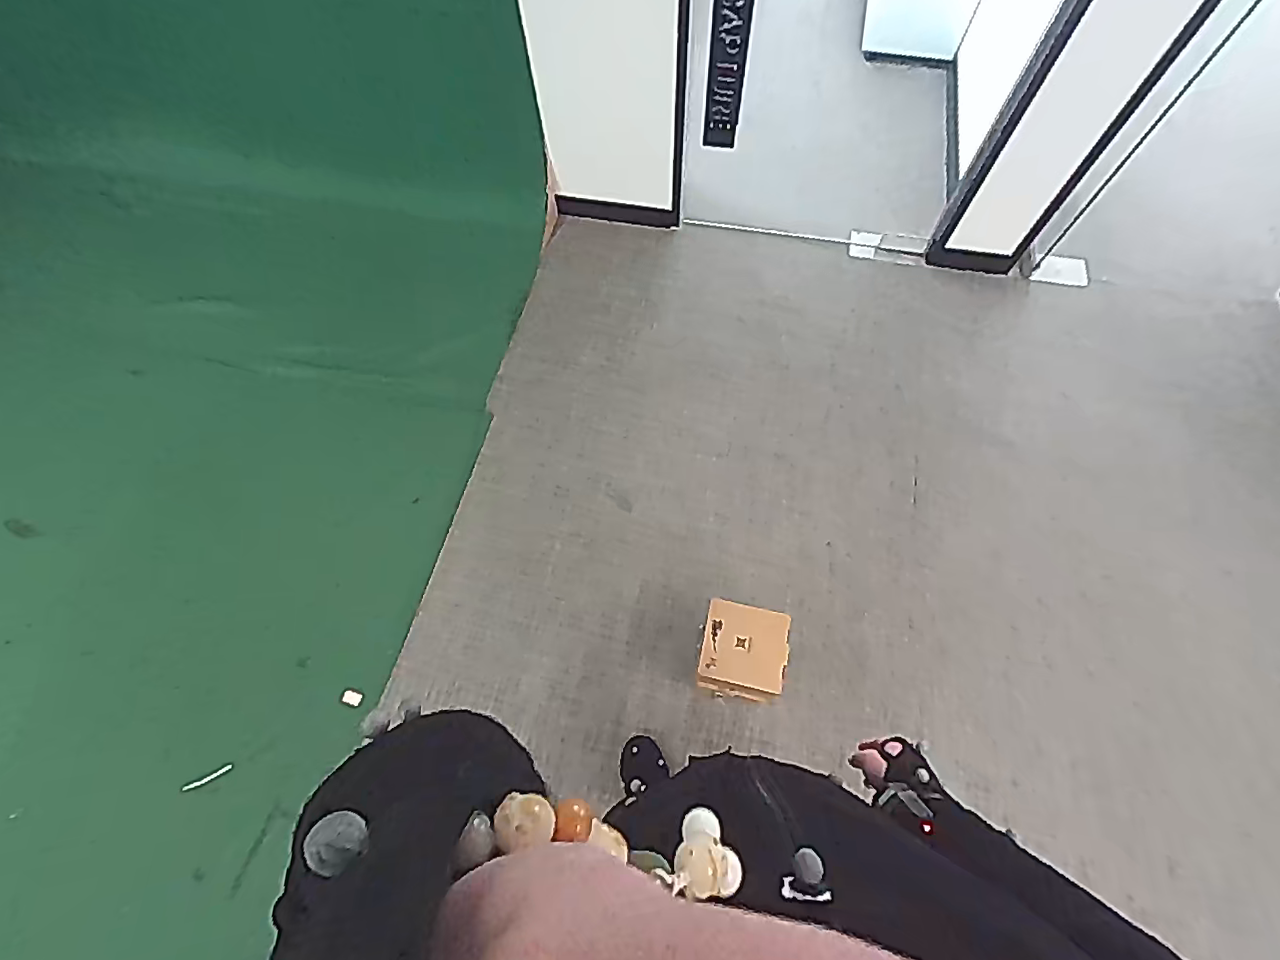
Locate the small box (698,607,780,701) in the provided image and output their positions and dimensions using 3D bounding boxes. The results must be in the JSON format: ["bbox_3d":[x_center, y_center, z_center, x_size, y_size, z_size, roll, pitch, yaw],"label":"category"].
[{"bbox_3d":[0.240,0.436,1.345,0.168,0.176,0.179,13,67,10],"label":"small box"}]
